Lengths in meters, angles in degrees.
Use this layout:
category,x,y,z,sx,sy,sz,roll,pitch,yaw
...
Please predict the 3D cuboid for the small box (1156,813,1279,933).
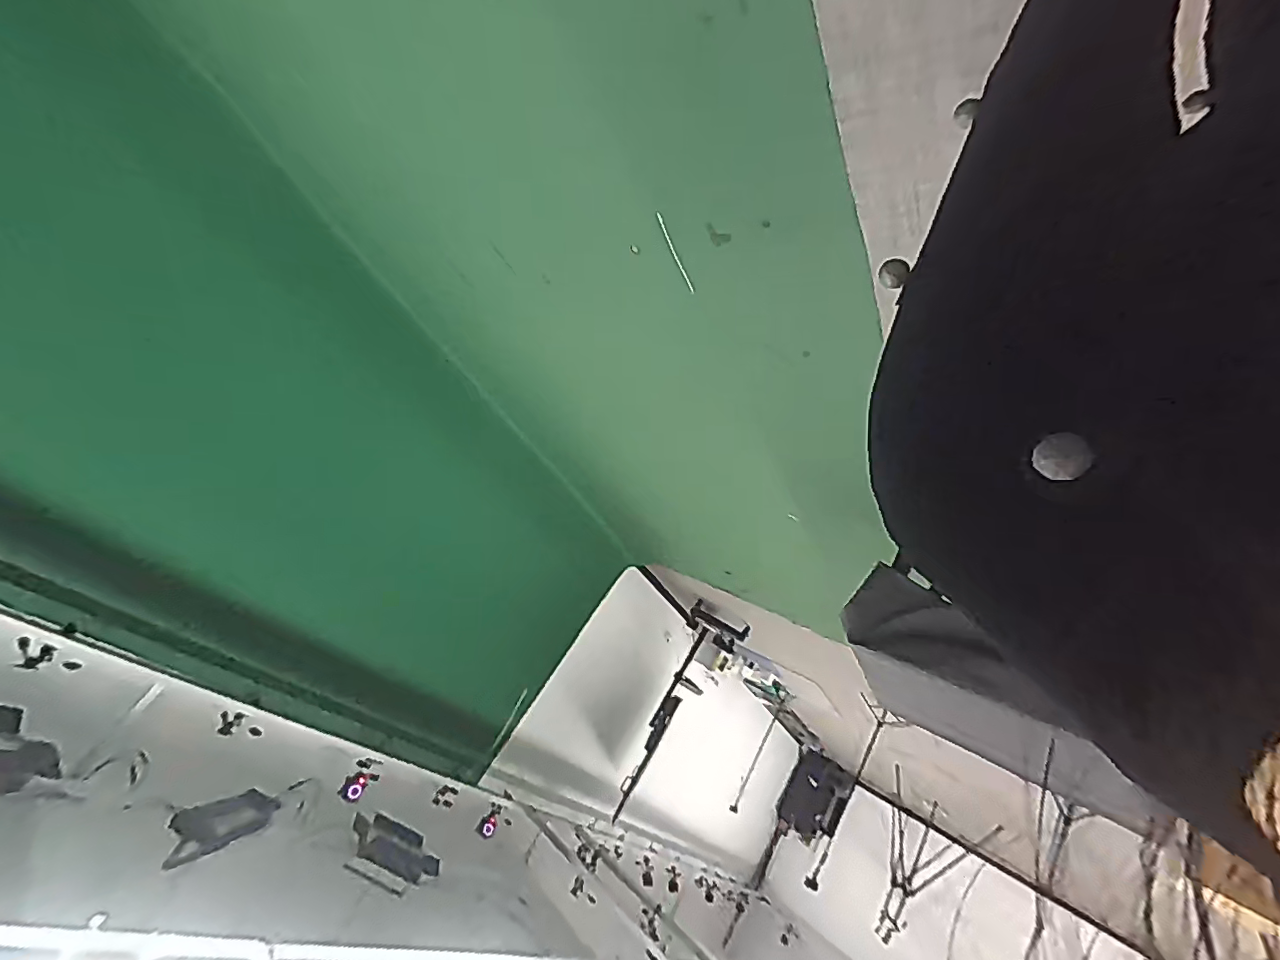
category,x,y,z,sx,sy,sz,roll,pitch,yaw
small box,1.371,0.914,1.272,0.179,0.176,0.168,19,154,37
